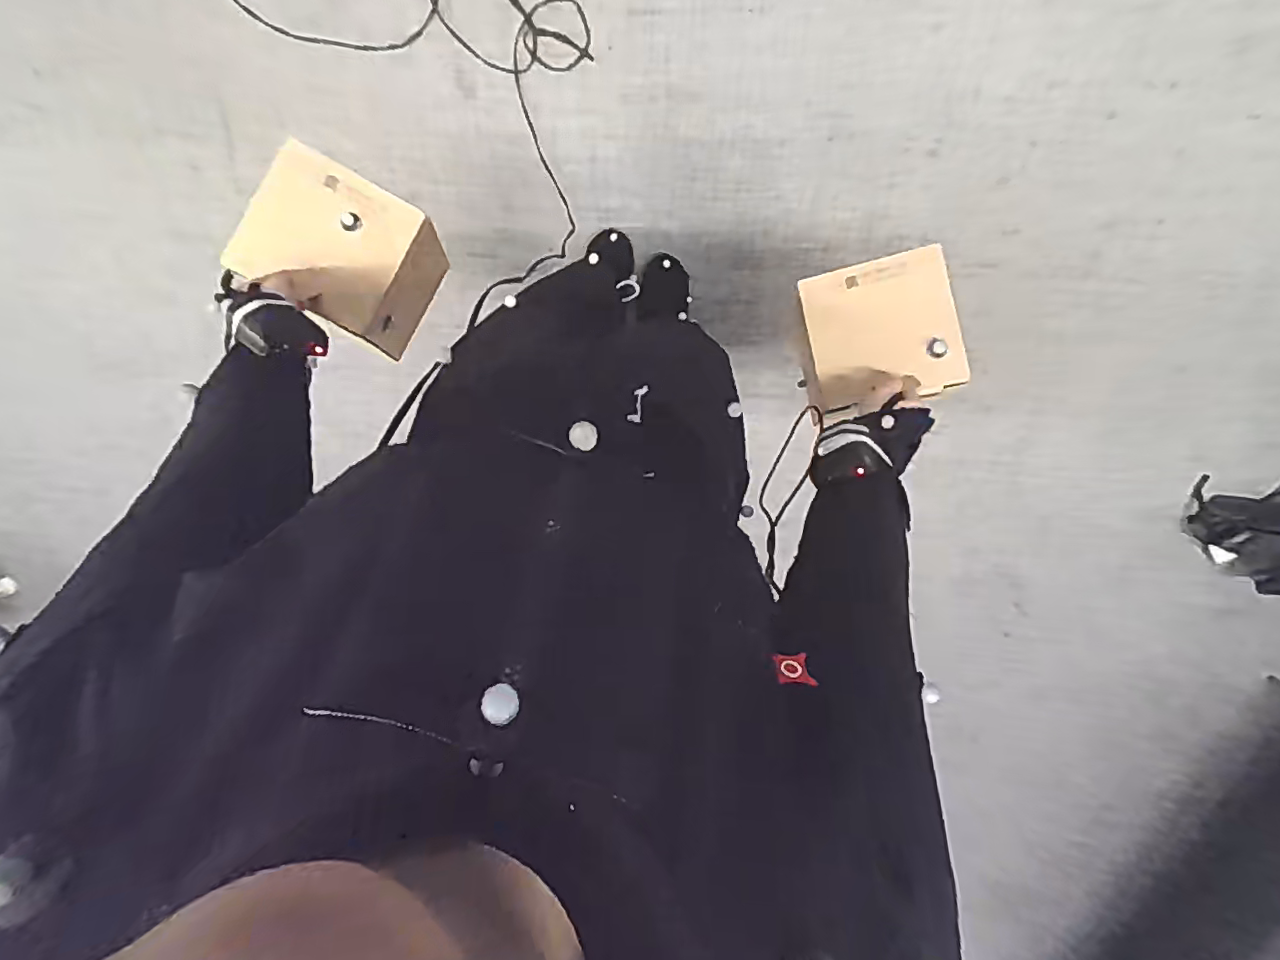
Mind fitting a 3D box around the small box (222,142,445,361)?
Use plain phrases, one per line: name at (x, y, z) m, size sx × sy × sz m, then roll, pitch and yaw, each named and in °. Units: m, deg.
small box at (-0.370, -0.279, 0.695) m, size 0.168 × 0.179 × 0.176 m, roll 25°, pitch 87°, yaw -11°
